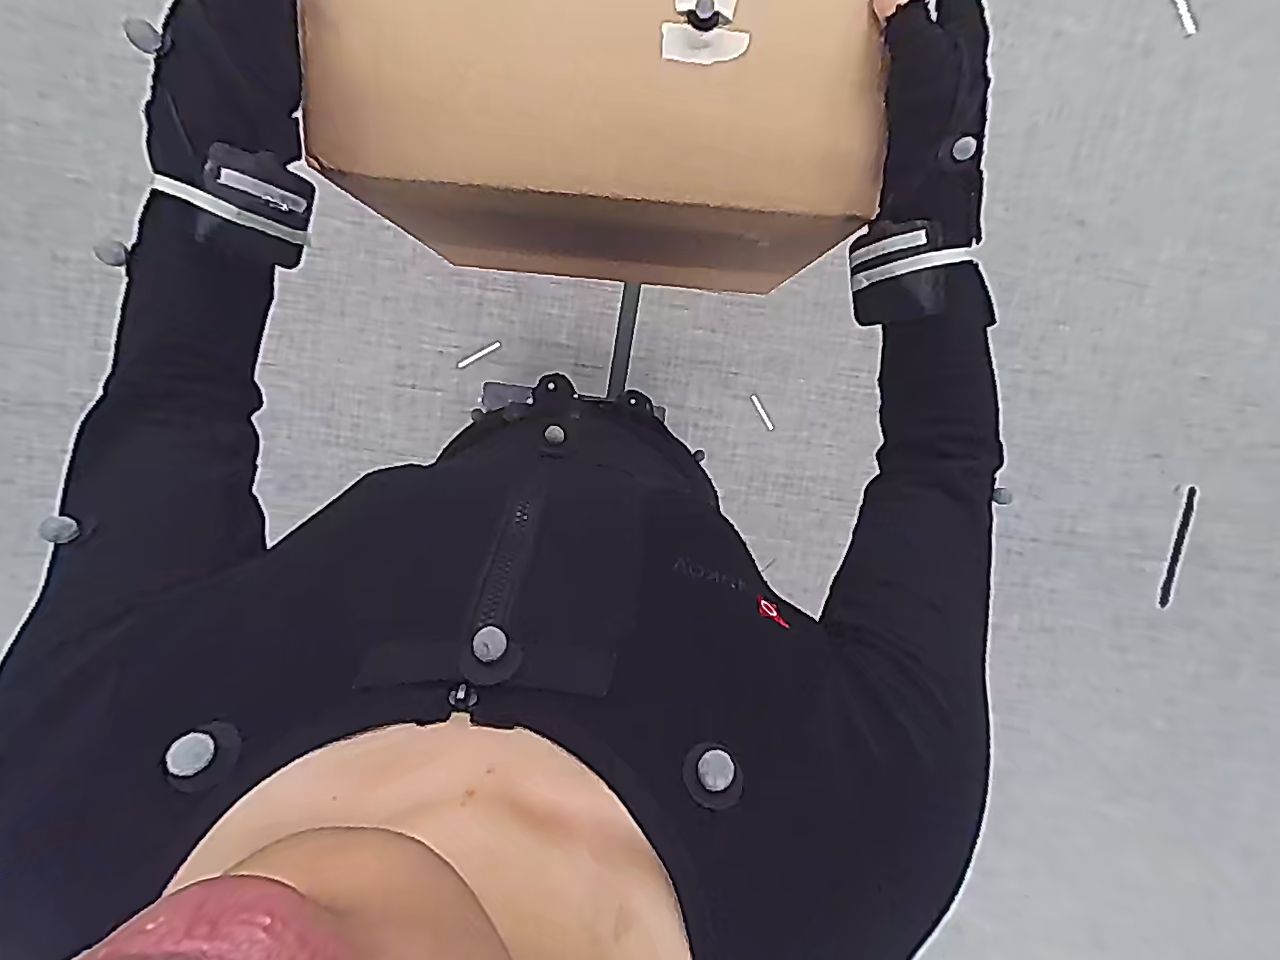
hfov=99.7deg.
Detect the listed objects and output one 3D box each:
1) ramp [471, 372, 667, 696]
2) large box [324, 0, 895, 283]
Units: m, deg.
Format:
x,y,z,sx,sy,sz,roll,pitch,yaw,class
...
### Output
x,y,z,sx,sy,sz,roll,pitch,yaw,class
-0.233,0.209,1.598,0.509,0.206,0.991,6,98,-3,ramp
-0.022,-0.389,0.518,0.408,0.320,0.320,4,100,-2,large box
